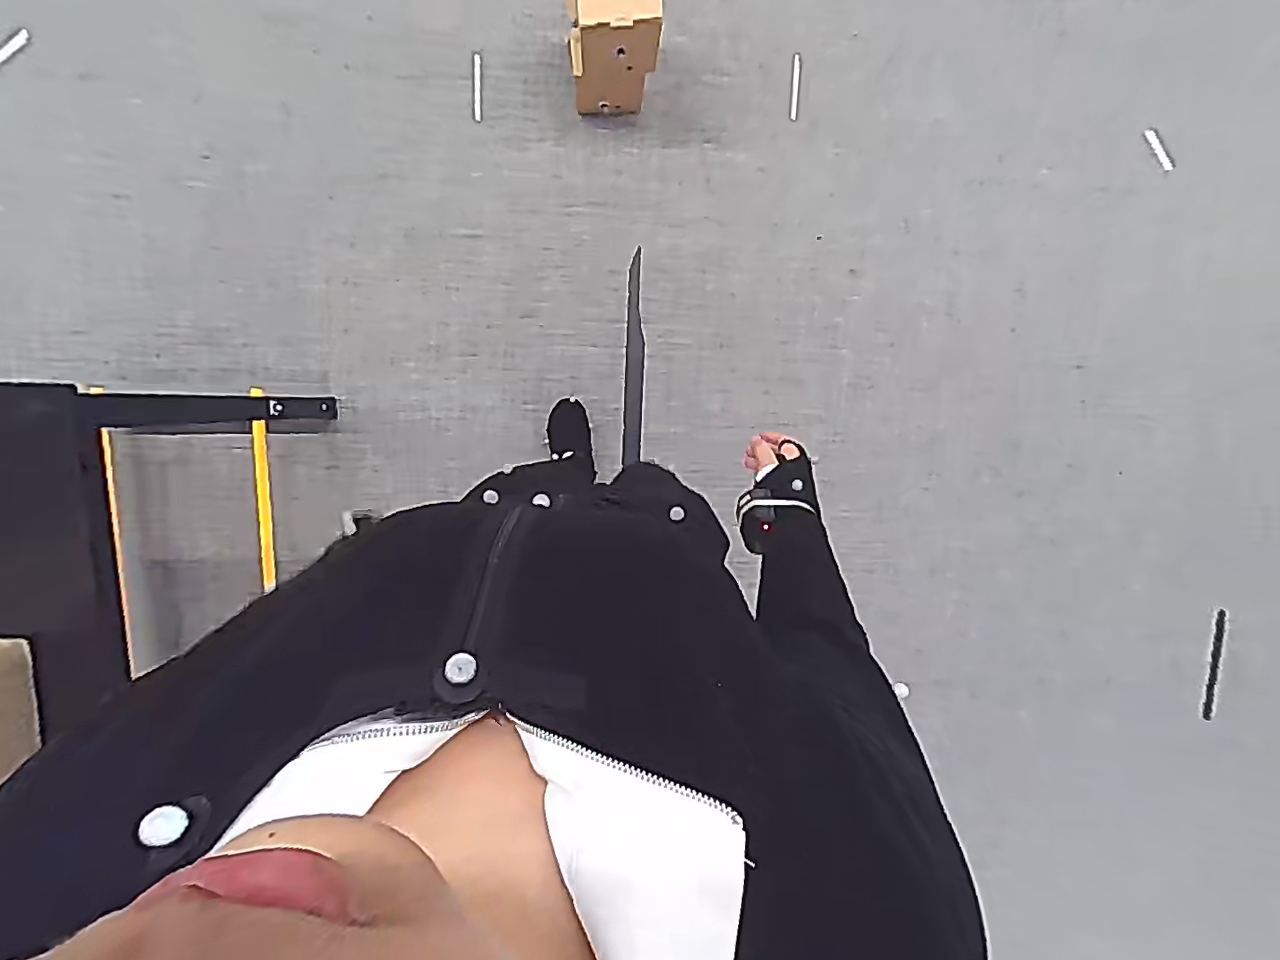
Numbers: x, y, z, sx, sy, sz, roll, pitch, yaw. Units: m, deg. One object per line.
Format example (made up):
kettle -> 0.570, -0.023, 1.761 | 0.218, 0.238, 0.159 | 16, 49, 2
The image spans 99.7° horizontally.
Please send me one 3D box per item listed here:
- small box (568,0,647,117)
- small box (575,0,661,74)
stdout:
small box -> -0.077, -0.993, 1.271 | 0.168, 0.176, 0.179 | -5, 99, -2
small box -> -0.049, -0.970, 1.110 | 0.168, 0.176, 0.179 | -6, 98, -2
